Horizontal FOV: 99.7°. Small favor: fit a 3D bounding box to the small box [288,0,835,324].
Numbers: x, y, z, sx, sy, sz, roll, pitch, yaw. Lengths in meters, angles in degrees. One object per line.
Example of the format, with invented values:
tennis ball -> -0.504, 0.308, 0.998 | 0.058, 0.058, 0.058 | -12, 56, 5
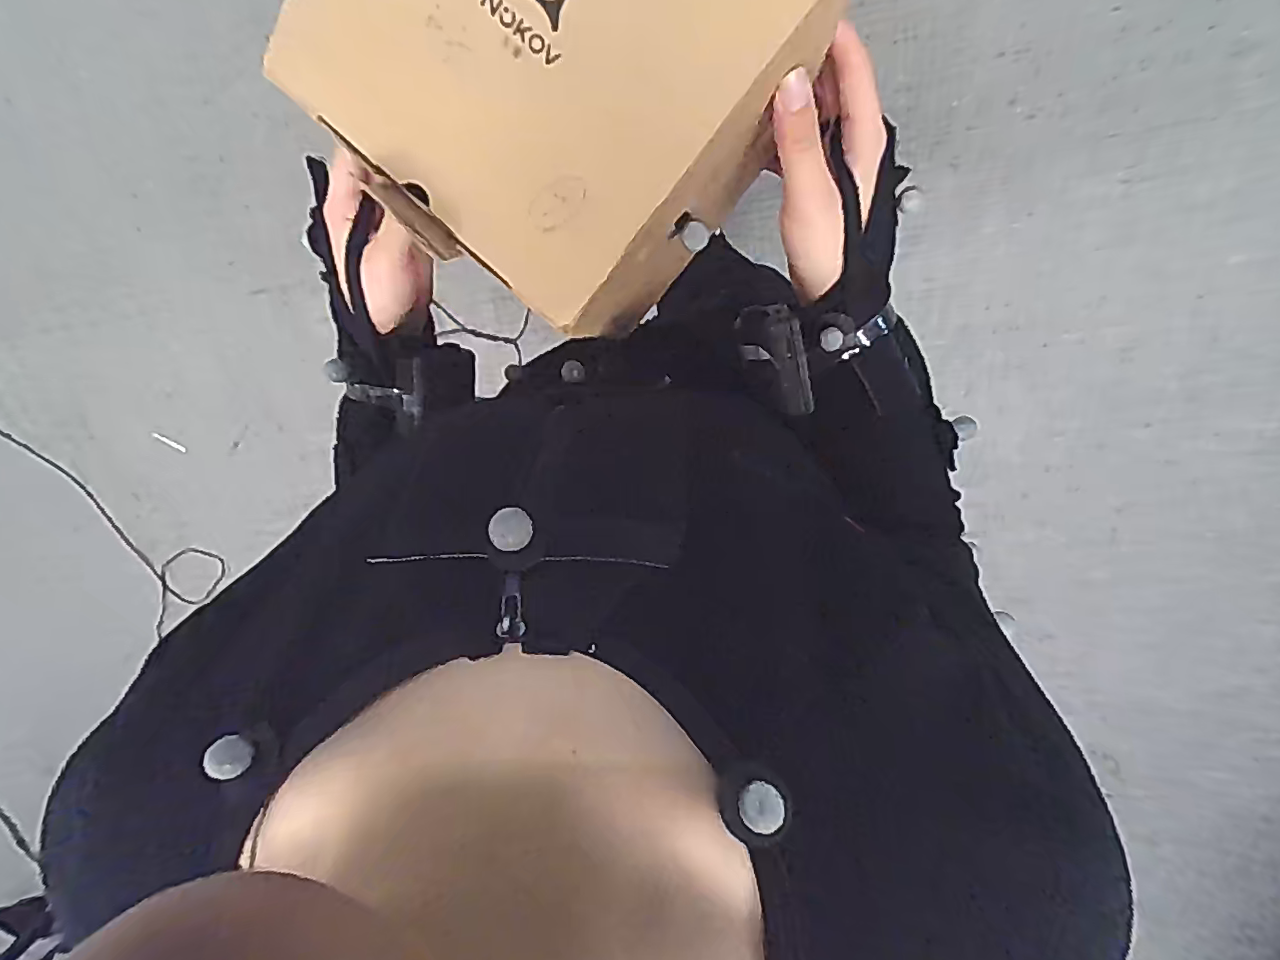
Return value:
small box -> -0.022, -0.201, 0.283 | 0.168, 0.176, 0.179 | 41, 108, -4
